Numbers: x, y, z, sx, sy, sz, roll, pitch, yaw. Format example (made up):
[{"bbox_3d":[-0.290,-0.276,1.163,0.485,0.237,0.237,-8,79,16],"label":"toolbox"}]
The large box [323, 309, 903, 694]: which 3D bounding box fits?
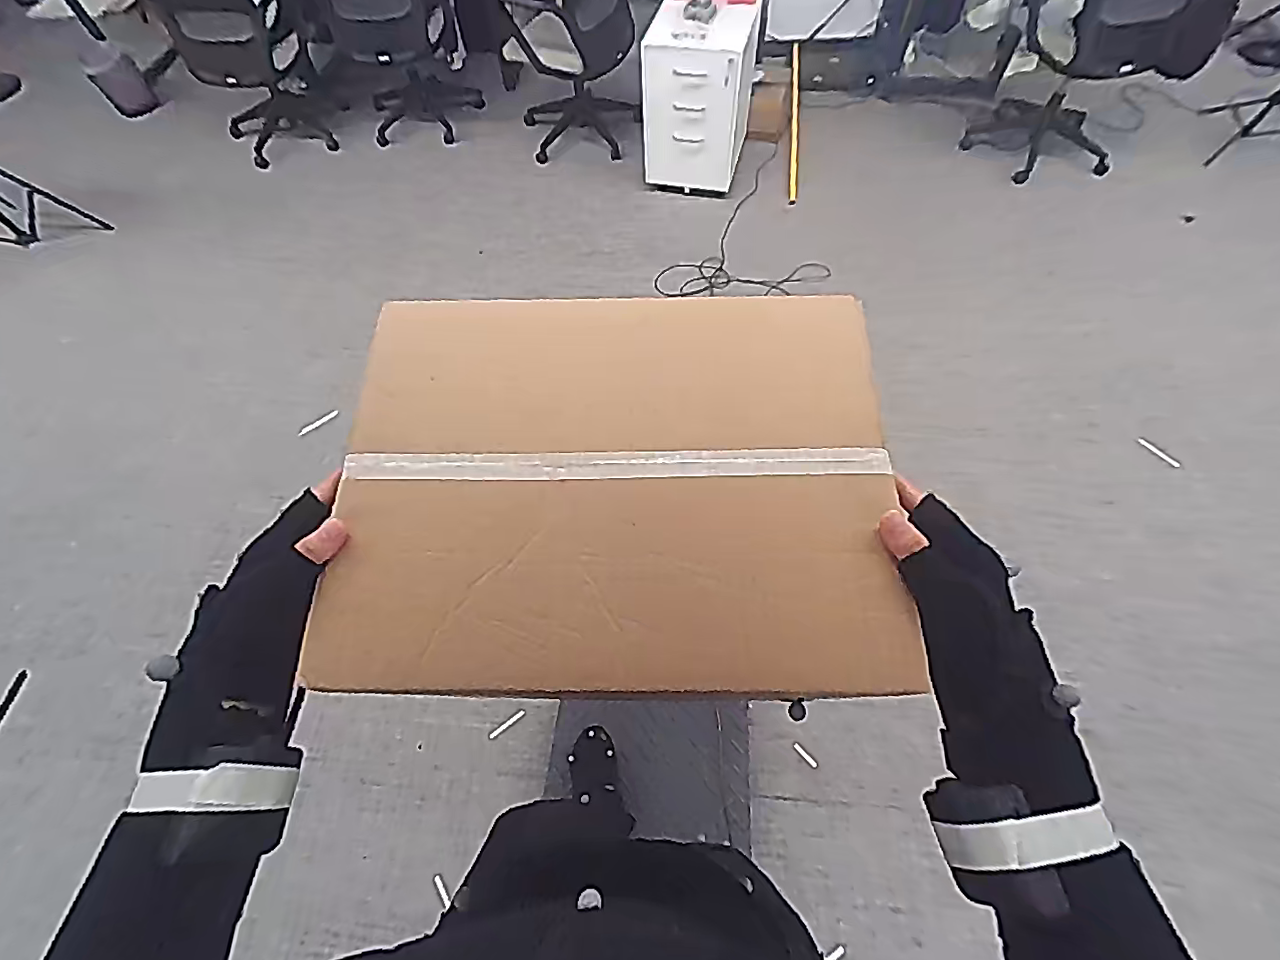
[{"bbox_3d":[-0.015,0.052,0.557,0.408,0.320,0.320,0,67,2],"label":"large box"}]
